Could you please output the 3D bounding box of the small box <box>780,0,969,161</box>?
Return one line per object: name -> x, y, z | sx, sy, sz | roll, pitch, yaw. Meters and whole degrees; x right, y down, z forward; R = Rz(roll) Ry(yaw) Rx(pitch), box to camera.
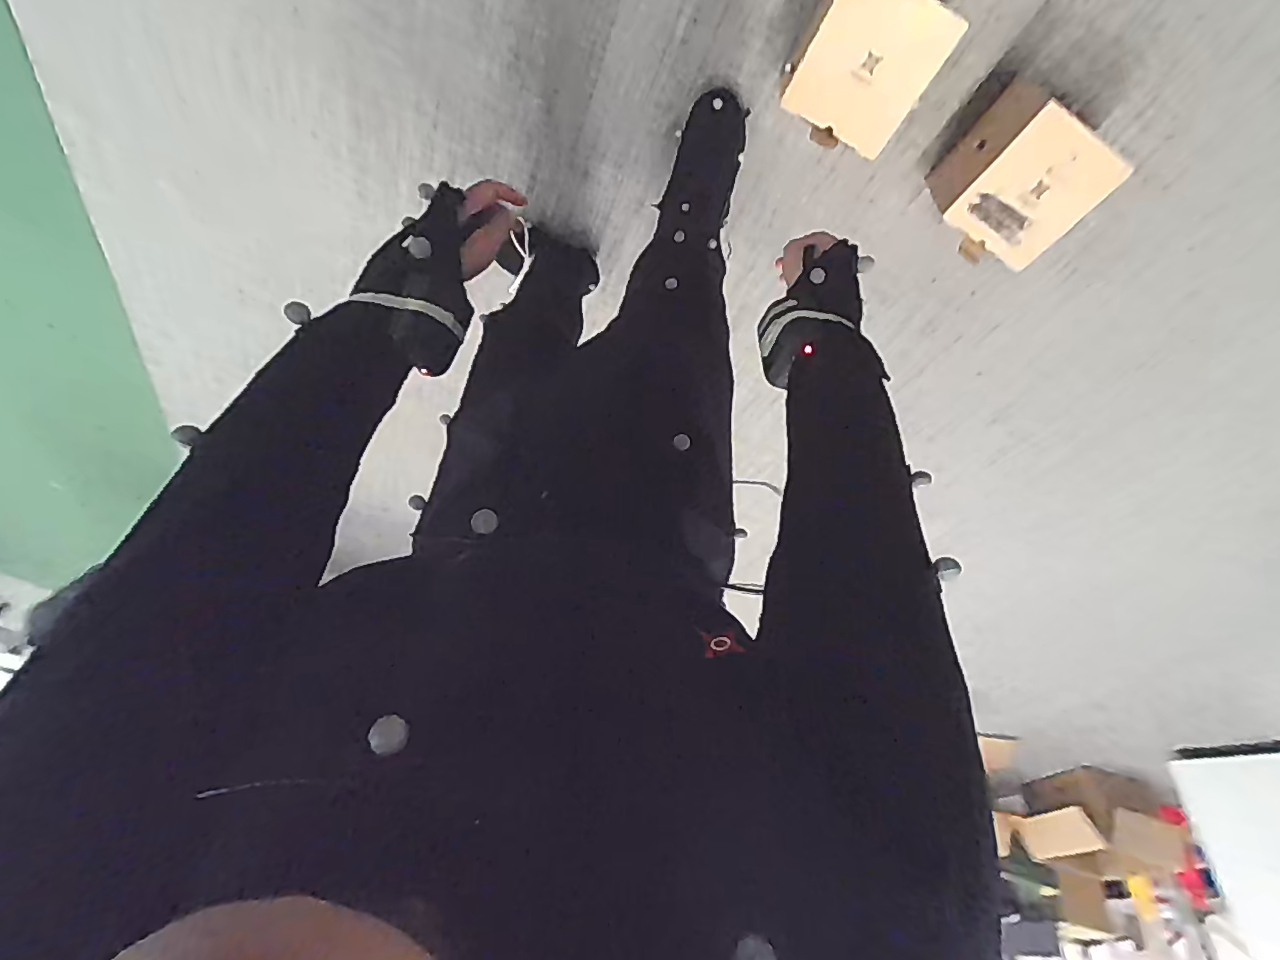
small box -> 0.314, -0.602, 0.763 | 0.168, 0.176, 0.179 | 24, 137, -10
